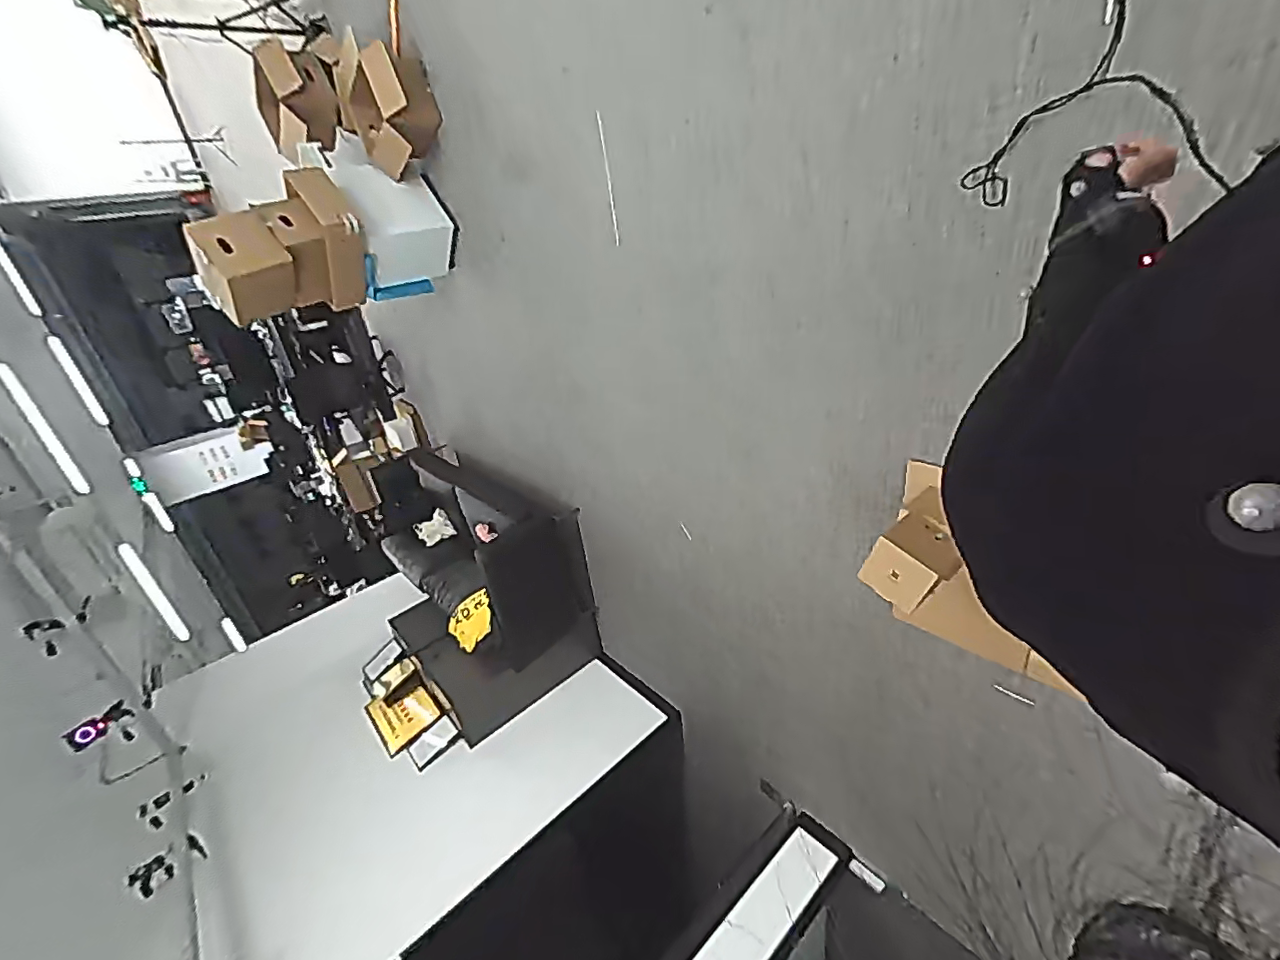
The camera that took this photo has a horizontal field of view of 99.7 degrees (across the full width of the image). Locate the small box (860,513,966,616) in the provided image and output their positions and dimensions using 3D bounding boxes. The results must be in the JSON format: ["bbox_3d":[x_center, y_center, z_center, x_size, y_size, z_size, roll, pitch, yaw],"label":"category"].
[{"bbox_3d":[0.734,0.223,1.453,0.168,0.176,0.179,41,141,31],"label":"small box"}]
